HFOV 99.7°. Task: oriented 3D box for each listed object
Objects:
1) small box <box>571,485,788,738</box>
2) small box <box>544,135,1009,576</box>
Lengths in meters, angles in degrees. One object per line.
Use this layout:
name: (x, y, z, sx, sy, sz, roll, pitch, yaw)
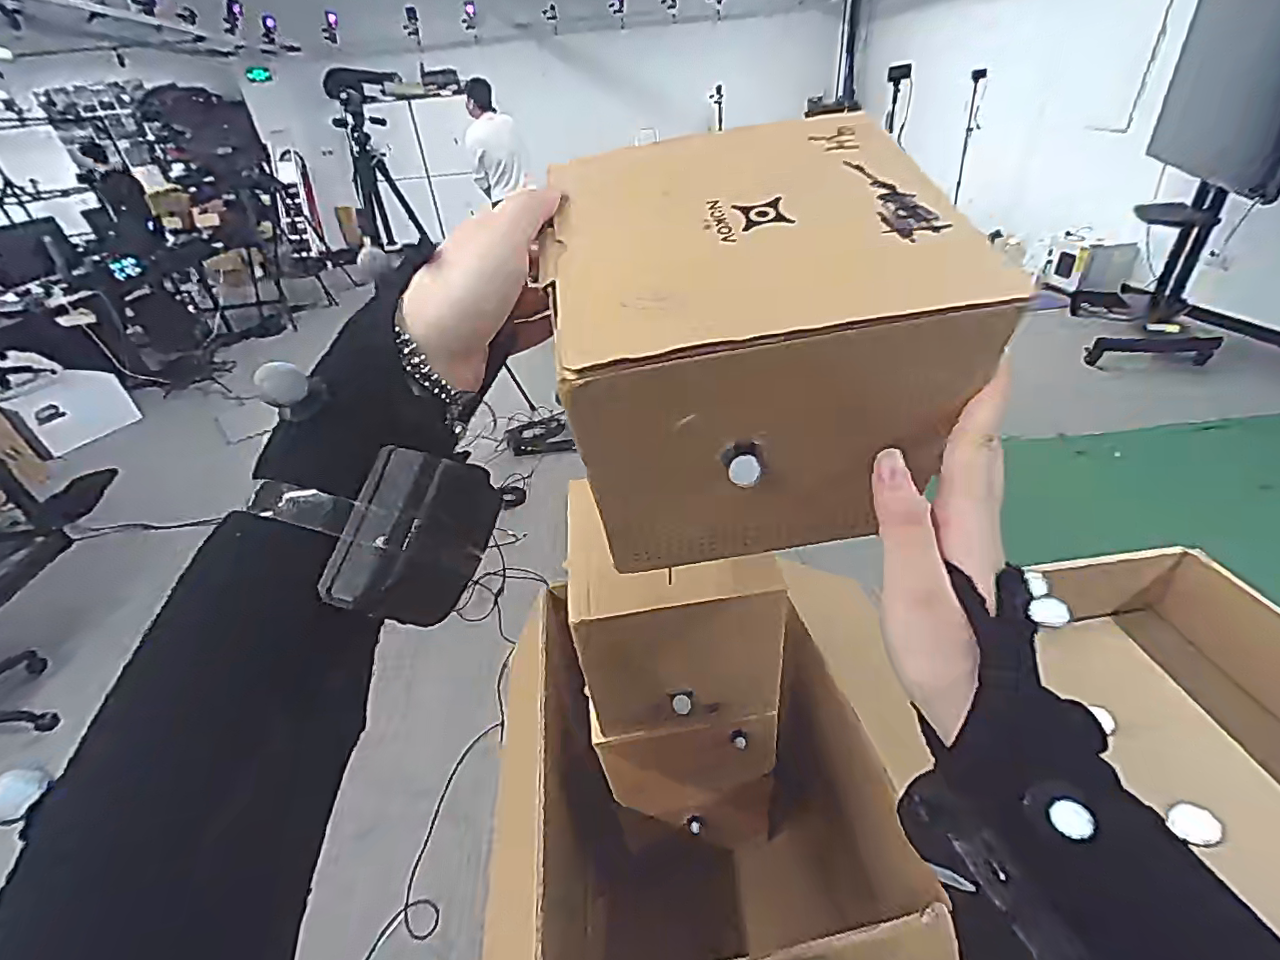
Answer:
small box: (0.030, 0.112, 0.514, 0.168, 0.176, 0.179, -9, 38, -1)
small box: (0.052, -0.059, 0.310, 0.179, 0.176, 0.168, -9, 54, 1)
